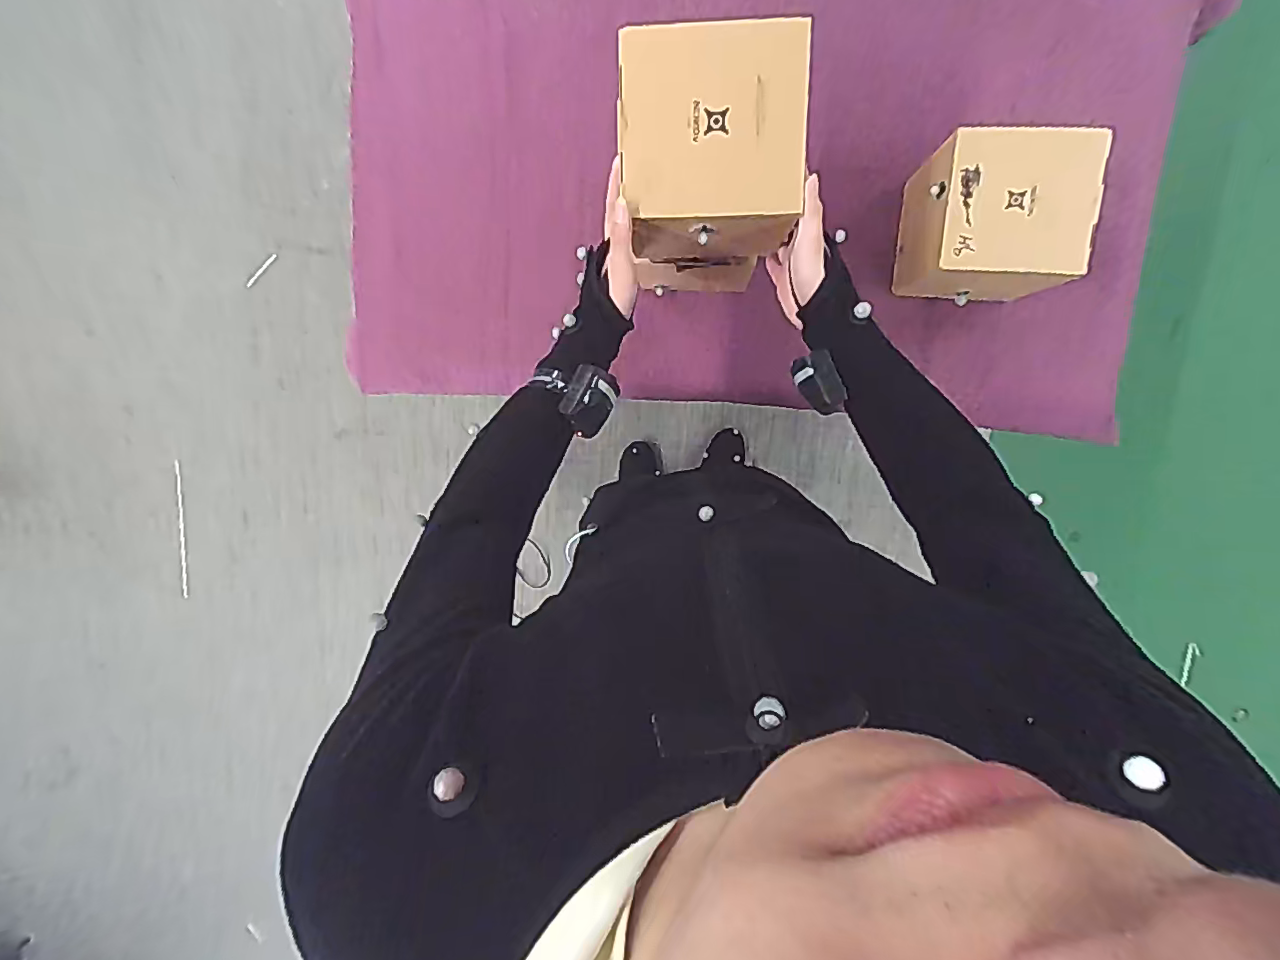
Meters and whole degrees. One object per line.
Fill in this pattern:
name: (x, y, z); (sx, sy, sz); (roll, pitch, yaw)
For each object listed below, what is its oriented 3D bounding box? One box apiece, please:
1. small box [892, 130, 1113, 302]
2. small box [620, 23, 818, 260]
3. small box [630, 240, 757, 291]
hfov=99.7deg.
small box: (0.470, -0.341, 0.729); (0.179, 0.176, 0.168); (5, 98, 5)
small box: (0.074, -0.338, 0.574); (0.179, 0.176, 0.168); (1, 100, 3)
small box: (0.081, -0.371, 0.760); (0.168, 0.176, 0.179); (3, 97, 5)
